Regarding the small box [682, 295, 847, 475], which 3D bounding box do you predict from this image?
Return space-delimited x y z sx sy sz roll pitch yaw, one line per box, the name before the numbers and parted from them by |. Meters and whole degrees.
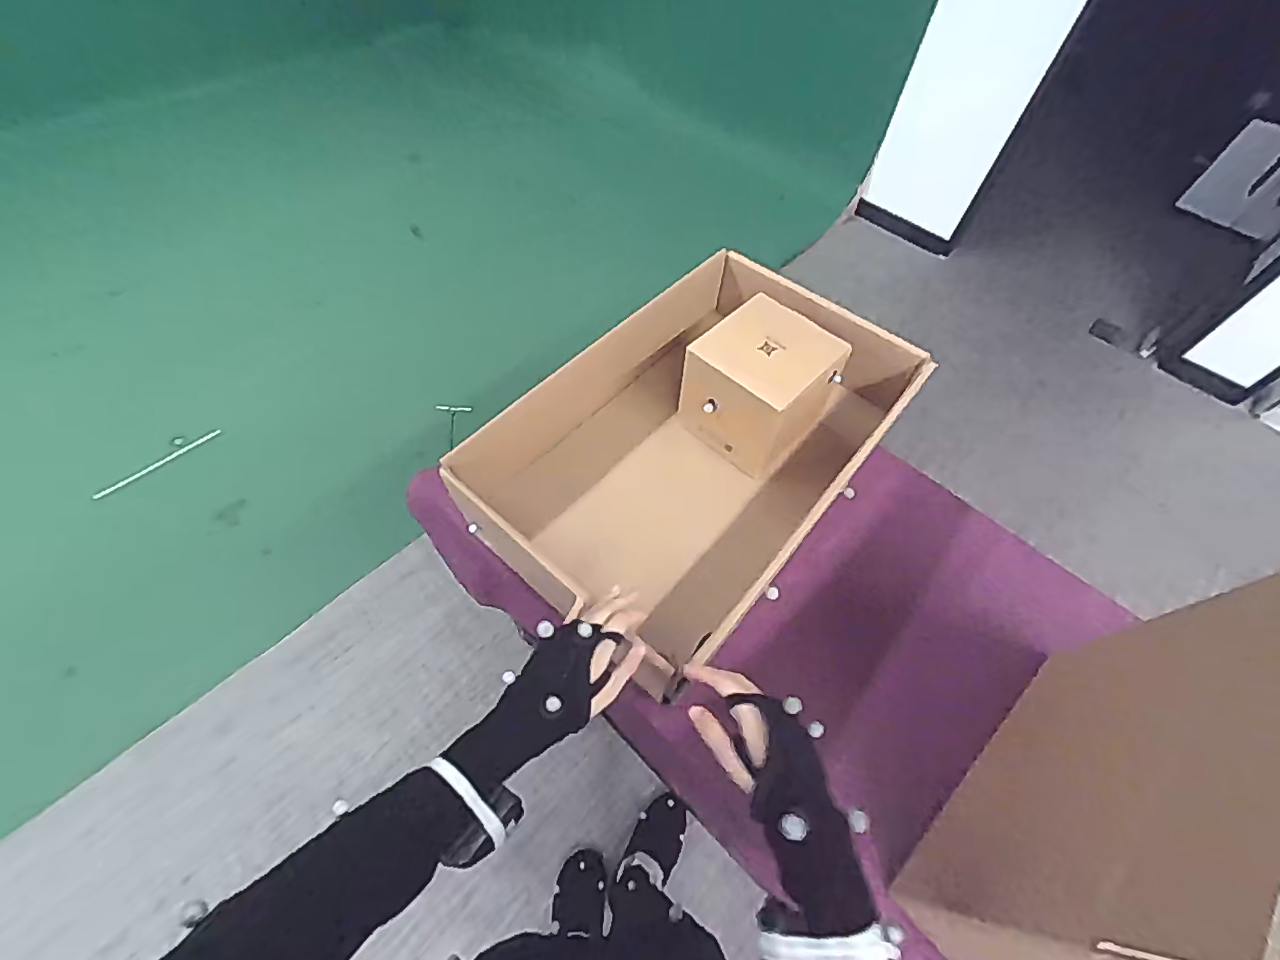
small box | 0.178 -0.140 0.827 0.168 0.176 0.179 40 64 21
